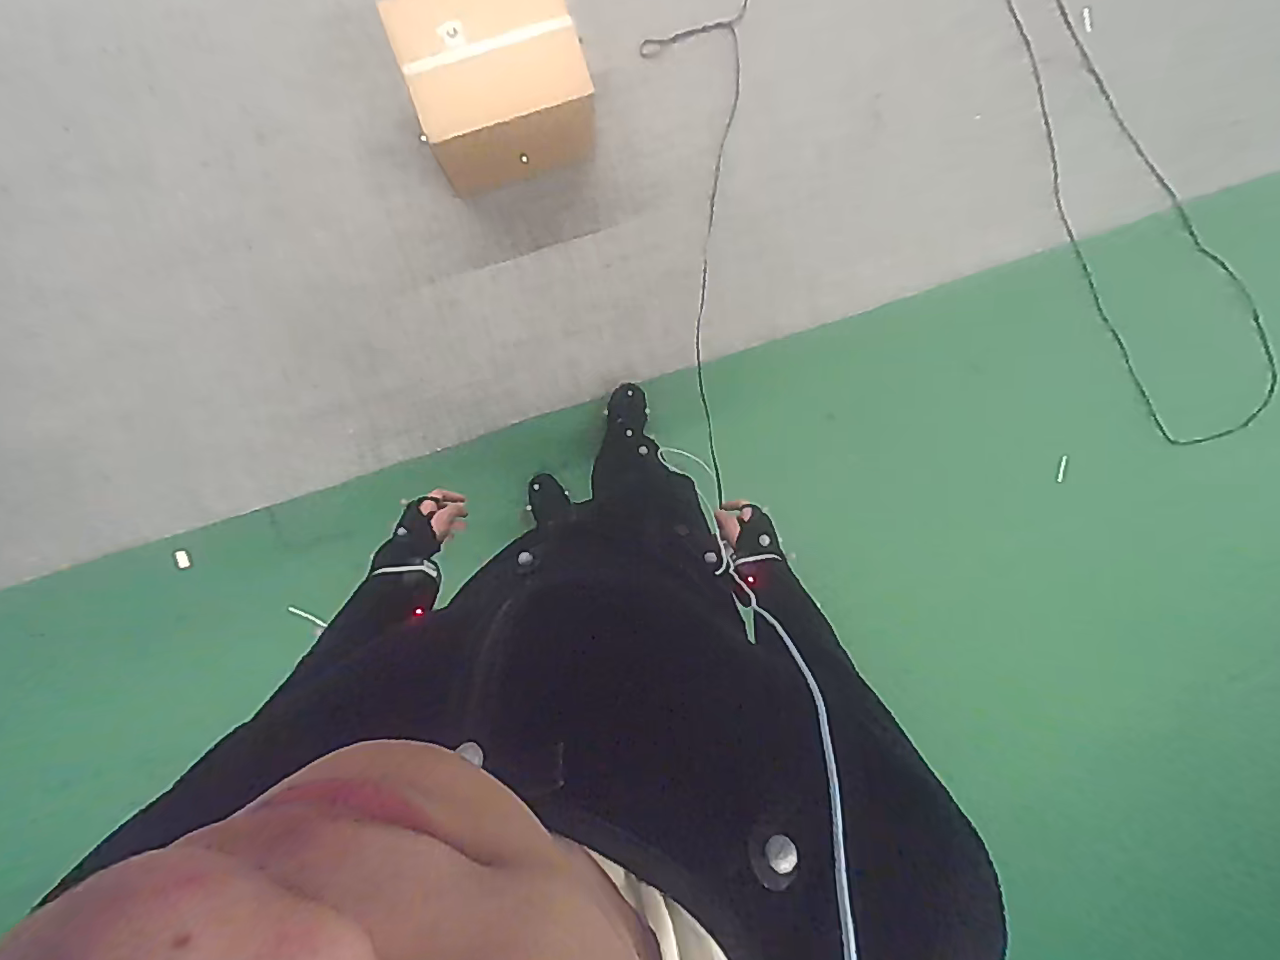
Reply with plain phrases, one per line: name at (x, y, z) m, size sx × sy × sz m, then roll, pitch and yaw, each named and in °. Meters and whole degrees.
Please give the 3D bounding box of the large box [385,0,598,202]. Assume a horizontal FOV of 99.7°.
large box at (-0.347, -0.980, 1.382) m, size 0.408 × 0.320 × 0.320 m, roll -20°, pitch 96°, yaw -2°
